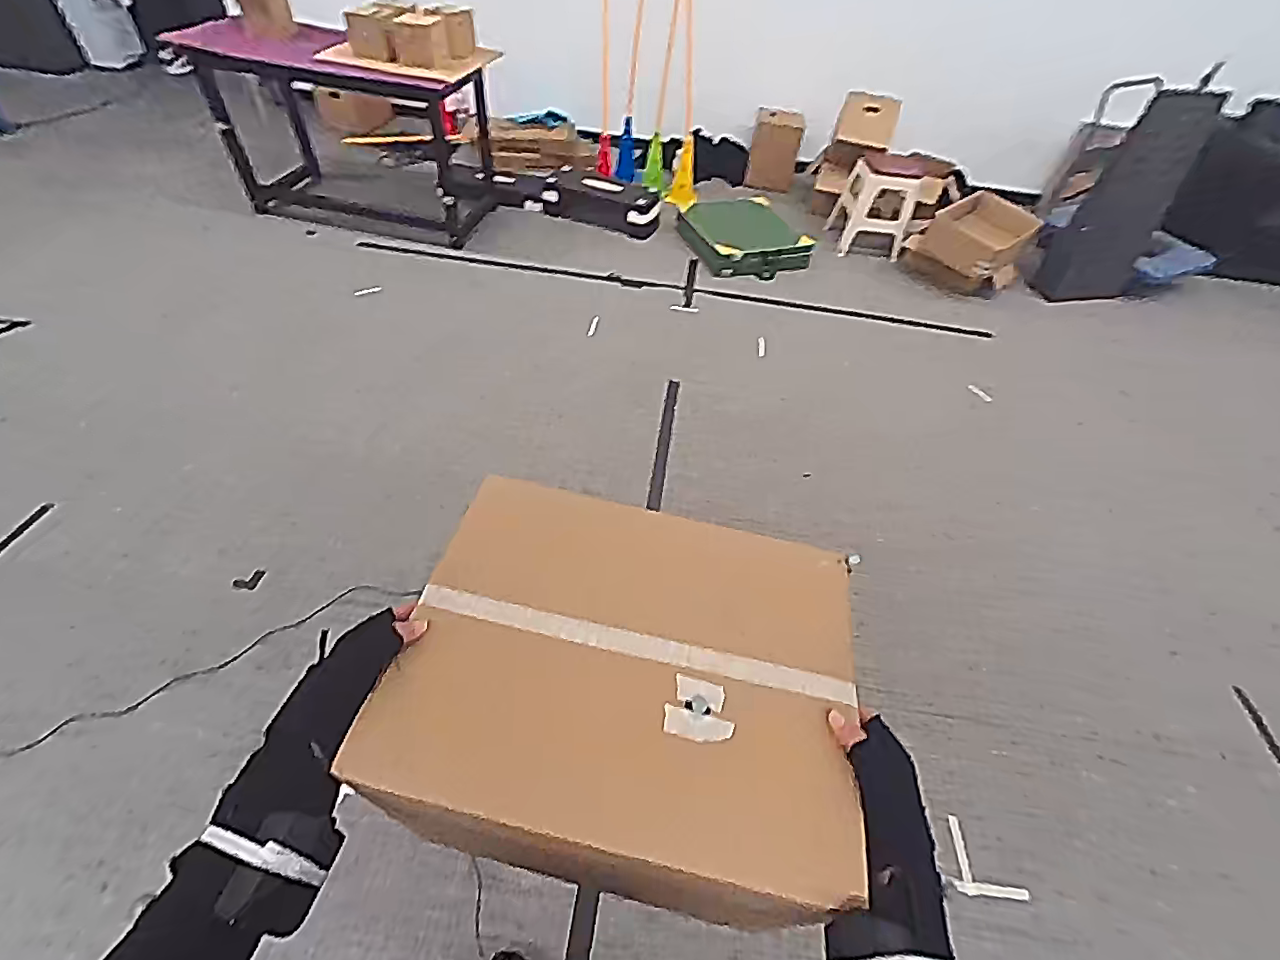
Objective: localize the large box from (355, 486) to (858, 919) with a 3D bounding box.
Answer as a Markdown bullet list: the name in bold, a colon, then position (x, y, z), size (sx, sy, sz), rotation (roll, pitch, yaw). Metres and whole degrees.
- **large box**: position (-0.019, 0.254, 0.618), size (0.408, 0.320, 0.320), rotation (13, 50, 4)
